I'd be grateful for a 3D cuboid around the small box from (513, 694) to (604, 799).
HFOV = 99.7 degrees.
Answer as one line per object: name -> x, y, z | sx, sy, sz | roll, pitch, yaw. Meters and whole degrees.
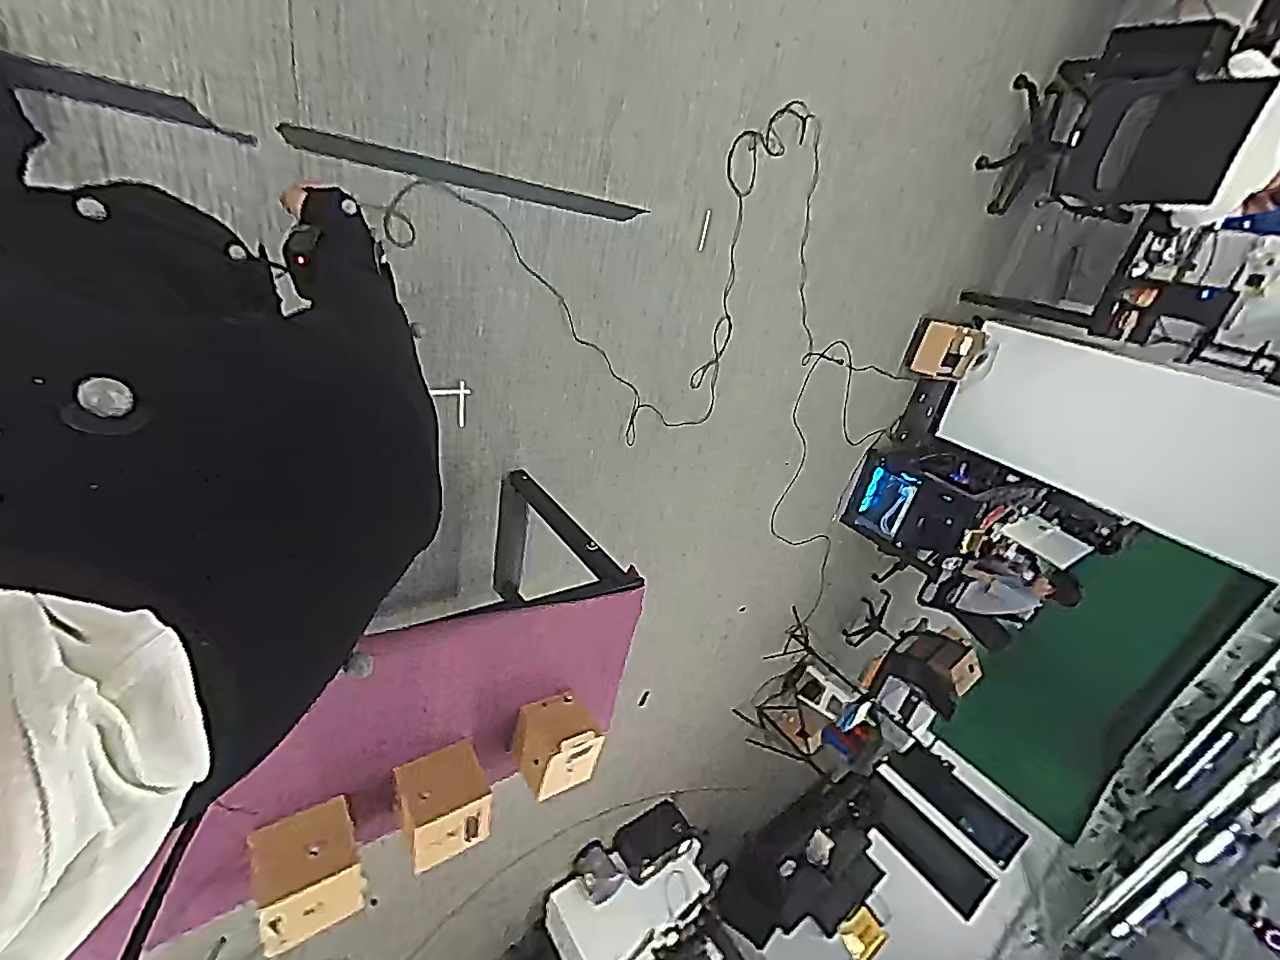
small box -> -0.226, 0.707, 1.463 | 0.168, 0.176, 0.179 | -2, 119, -40
